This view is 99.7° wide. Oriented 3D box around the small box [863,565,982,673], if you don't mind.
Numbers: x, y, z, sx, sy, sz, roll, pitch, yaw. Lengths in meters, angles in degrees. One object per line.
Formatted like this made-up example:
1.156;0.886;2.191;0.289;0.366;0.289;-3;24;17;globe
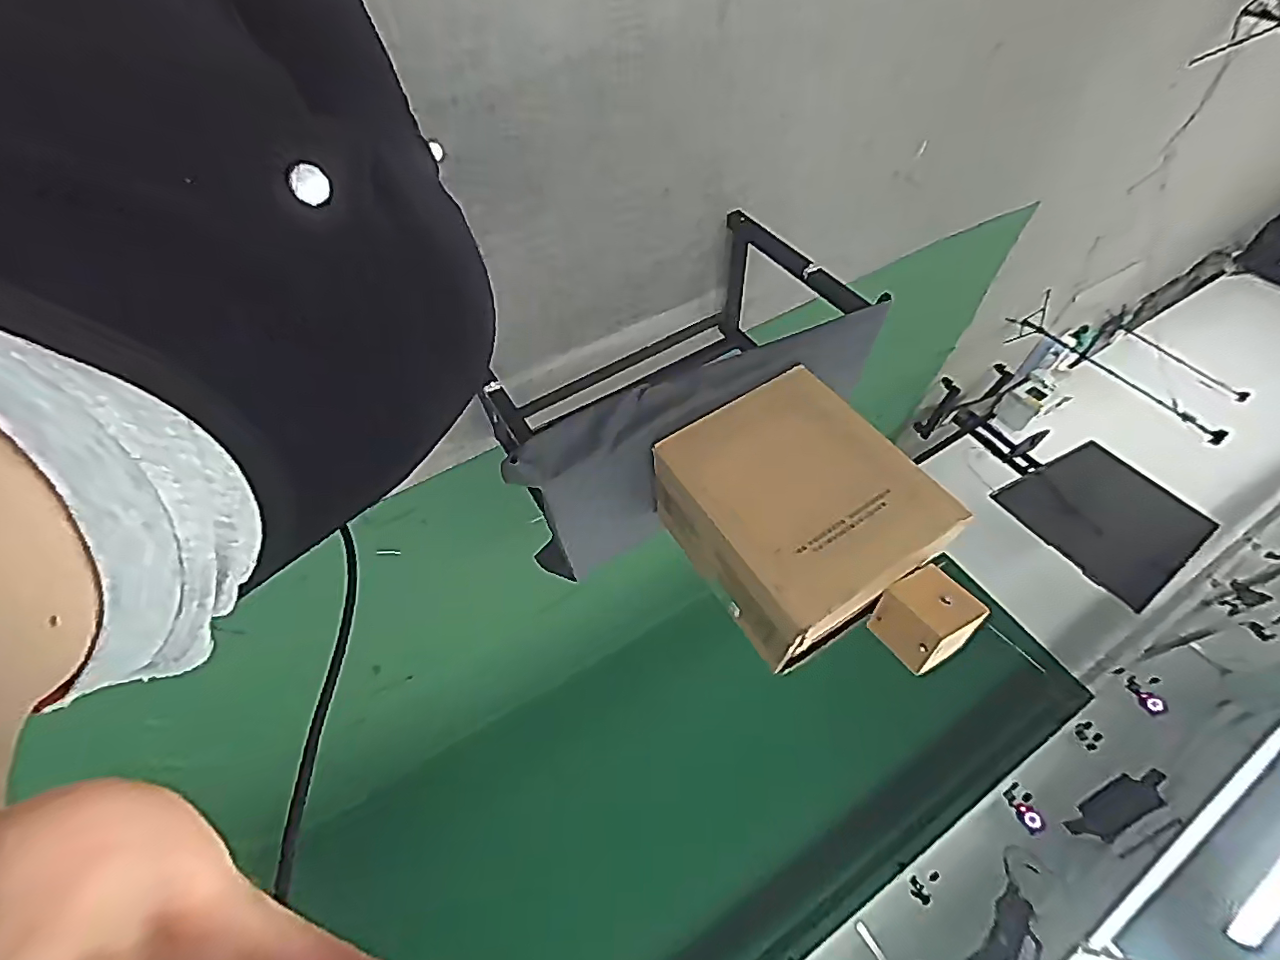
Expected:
0.706;0.344;1.367;0.179;0.176;0.168;-20;136;-24;small box
